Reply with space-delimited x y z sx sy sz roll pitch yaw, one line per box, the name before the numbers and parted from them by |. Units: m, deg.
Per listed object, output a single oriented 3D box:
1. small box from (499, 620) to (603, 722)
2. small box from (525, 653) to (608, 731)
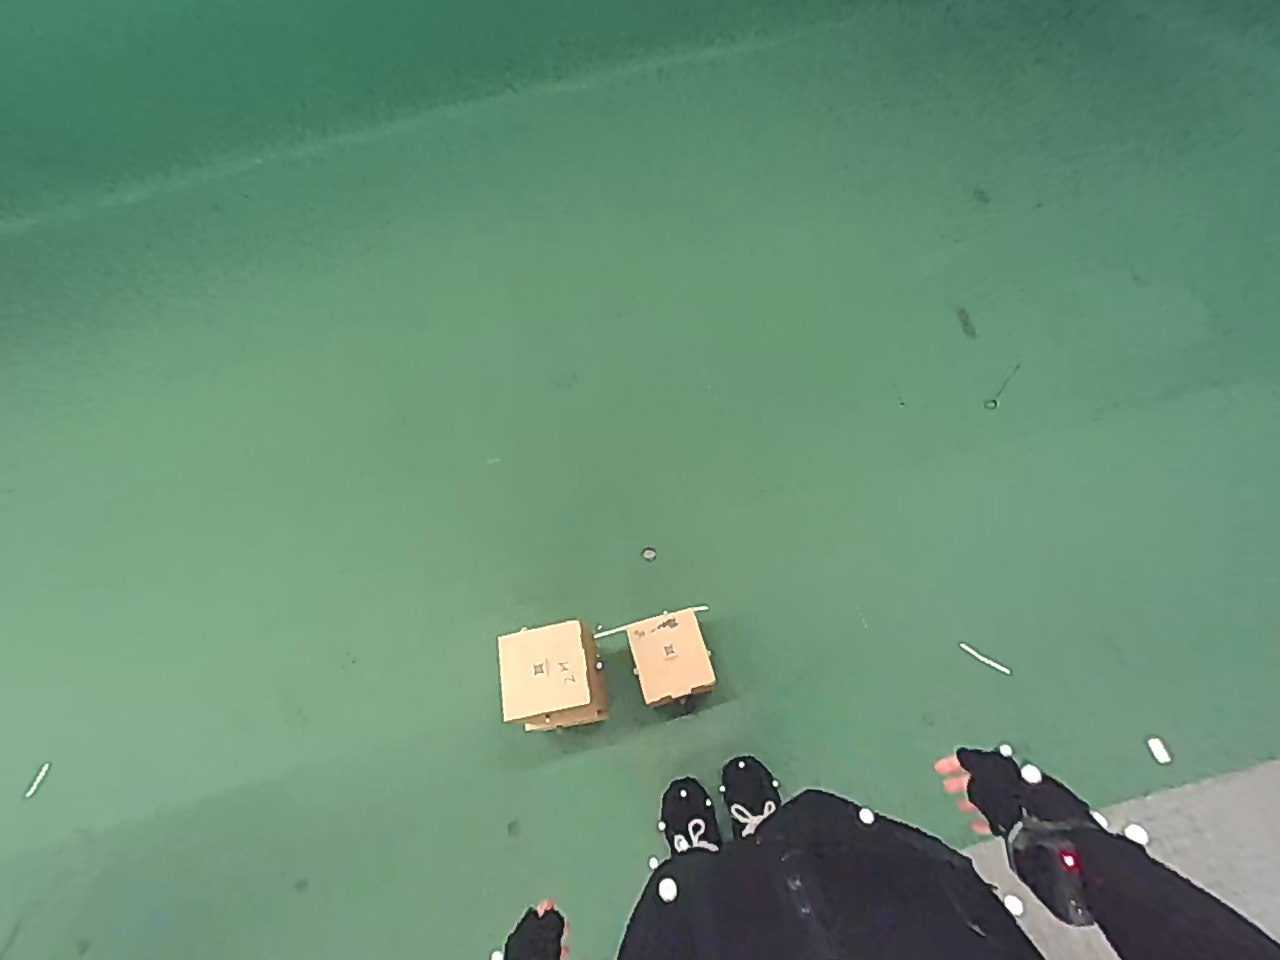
small box | -0.185 0.412 1.150 0.179 0.176 0.168 -12 63 1
small box | -0.176 0.495 1.292 0.168 0.176 0.179 -11 63 1
